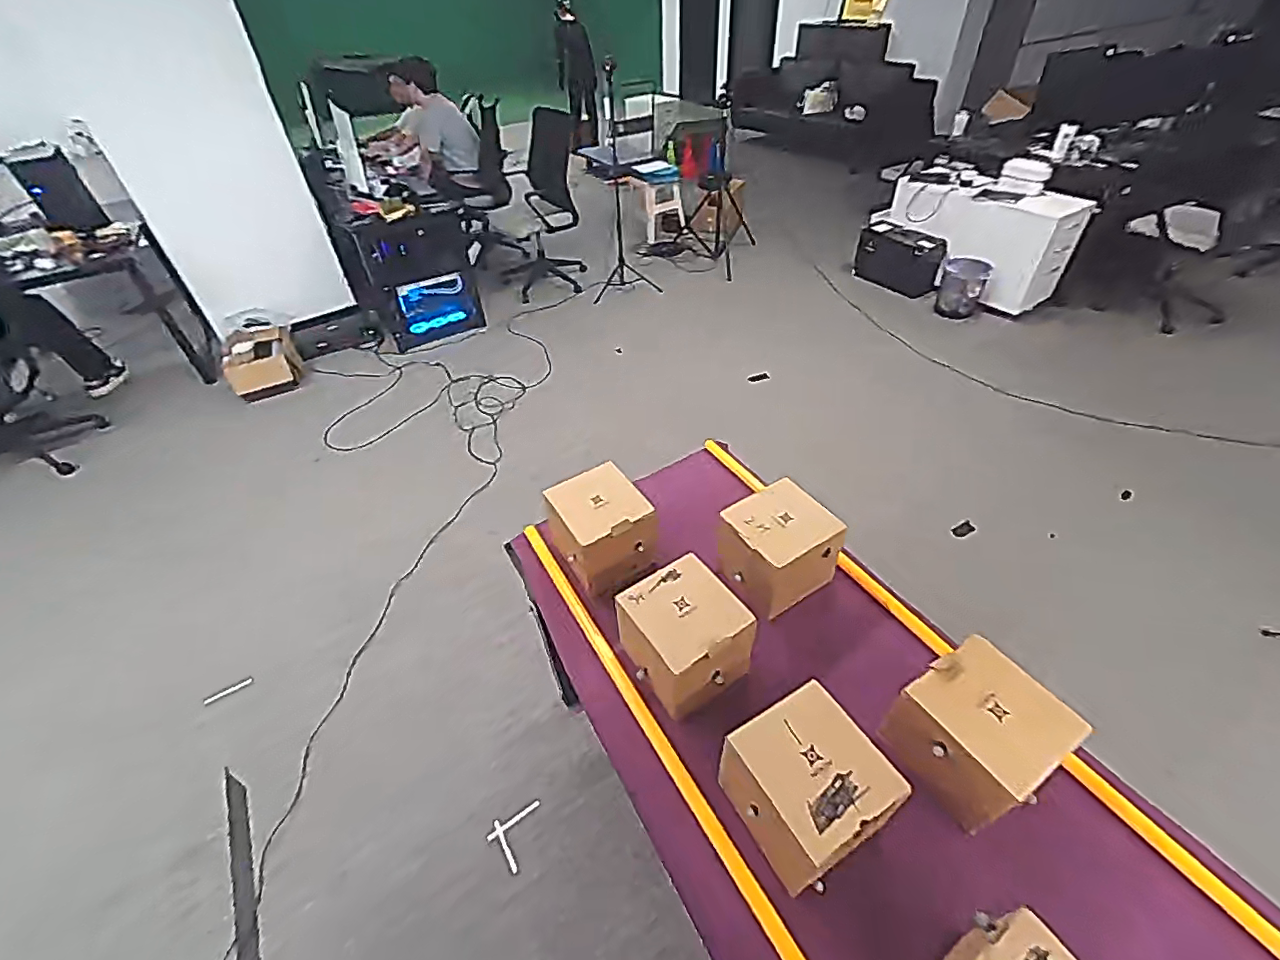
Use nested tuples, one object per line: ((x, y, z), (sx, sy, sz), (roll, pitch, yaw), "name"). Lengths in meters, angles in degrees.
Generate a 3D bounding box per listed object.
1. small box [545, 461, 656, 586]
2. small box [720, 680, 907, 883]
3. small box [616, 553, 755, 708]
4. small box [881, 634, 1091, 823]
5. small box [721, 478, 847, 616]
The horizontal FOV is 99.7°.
((-0.078, 0.097, 1.127), (0.168, 0.176, 0.179), (-25, 50, -22), "small box")
((0.230, 0.427, 0.762), (0.168, 0.176, 0.179), (-22, 45, -21), "small box")
((0.076, 0.268, 0.942), (0.168, 0.176, 0.179), (-26, 49, -22), "small box")
((0.496, 0.373, 0.803), (0.168, 0.176, 0.179), (-25, 47, -20), "small box")
((0.273, 0.132, 1.070), (0.179, 0.176, 0.168), (-26, 47, -19), "small box")
